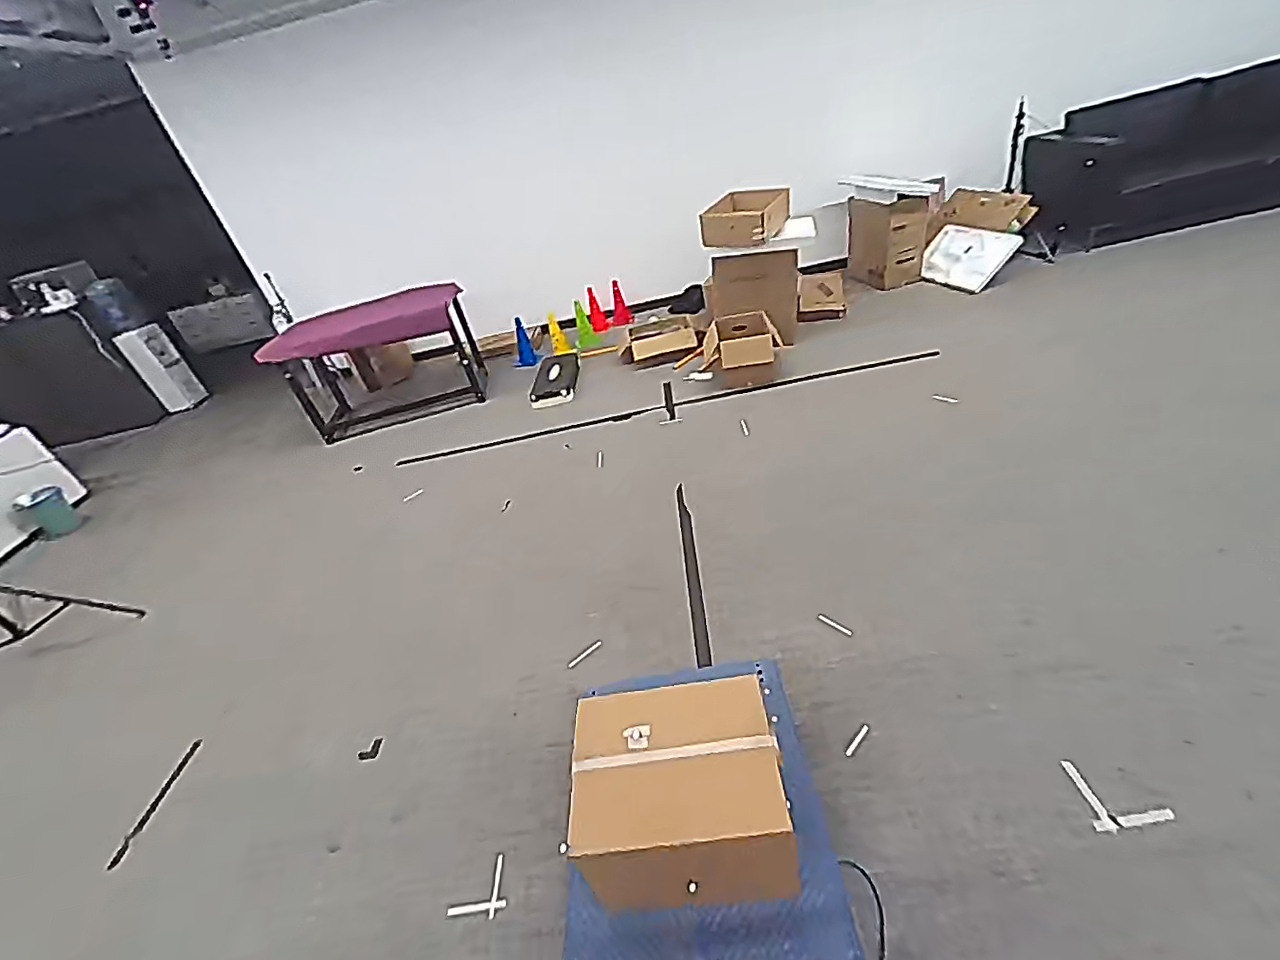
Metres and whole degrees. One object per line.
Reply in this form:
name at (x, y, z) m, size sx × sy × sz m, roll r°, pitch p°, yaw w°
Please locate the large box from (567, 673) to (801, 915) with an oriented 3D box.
large box at (0.092, 0.659, 1.140) m, size 0.408 × 0.320 × 0.320 m, roll -12°, pitch 33°, yaw 6°
